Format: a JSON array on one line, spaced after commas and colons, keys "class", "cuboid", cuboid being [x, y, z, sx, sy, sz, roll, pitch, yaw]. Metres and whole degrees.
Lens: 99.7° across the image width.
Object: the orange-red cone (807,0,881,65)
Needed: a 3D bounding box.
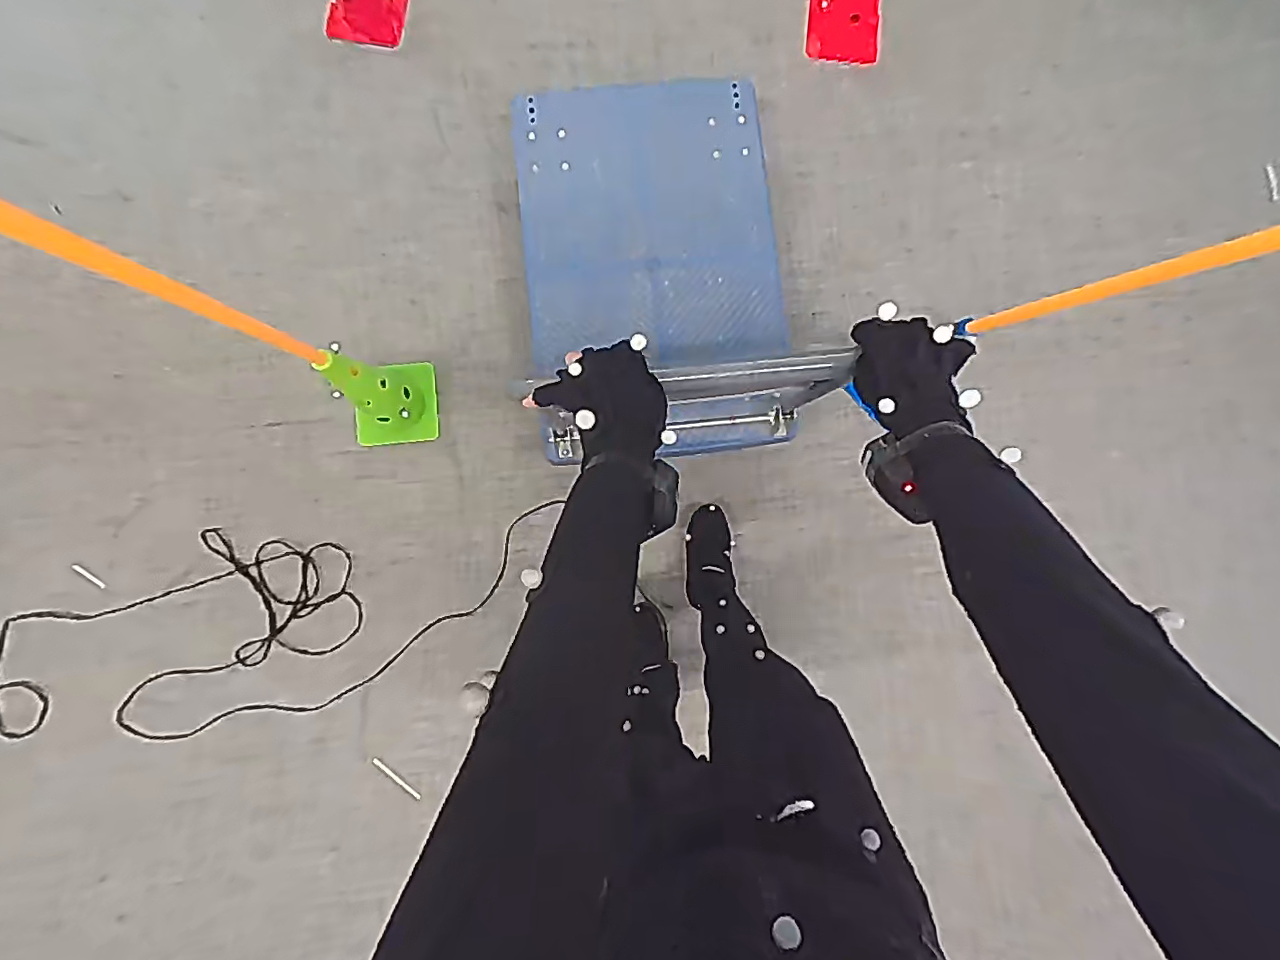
[{"class": "orange-red cone", "cuboid": [0.569, -1.259, 1.324, 0.198, 0.360, 0.199, 6, 85, -1]}]
